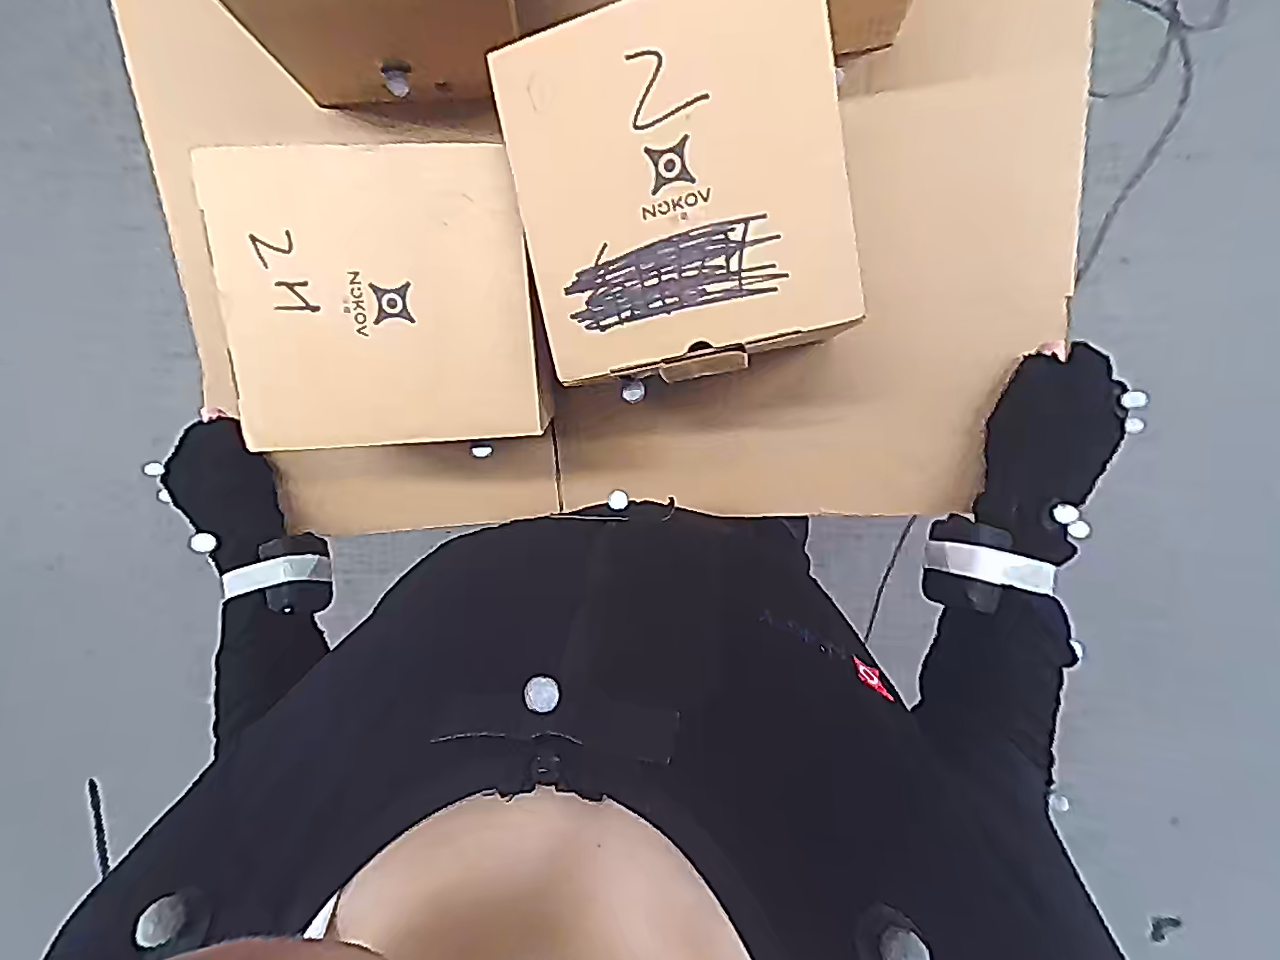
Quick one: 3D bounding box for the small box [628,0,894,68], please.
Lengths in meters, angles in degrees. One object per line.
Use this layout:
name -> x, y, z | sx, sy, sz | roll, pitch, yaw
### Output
small box -> 0.069, -0.370, 0.301 | 0.168, 0.176, 0.179 | -1, 100, 14
